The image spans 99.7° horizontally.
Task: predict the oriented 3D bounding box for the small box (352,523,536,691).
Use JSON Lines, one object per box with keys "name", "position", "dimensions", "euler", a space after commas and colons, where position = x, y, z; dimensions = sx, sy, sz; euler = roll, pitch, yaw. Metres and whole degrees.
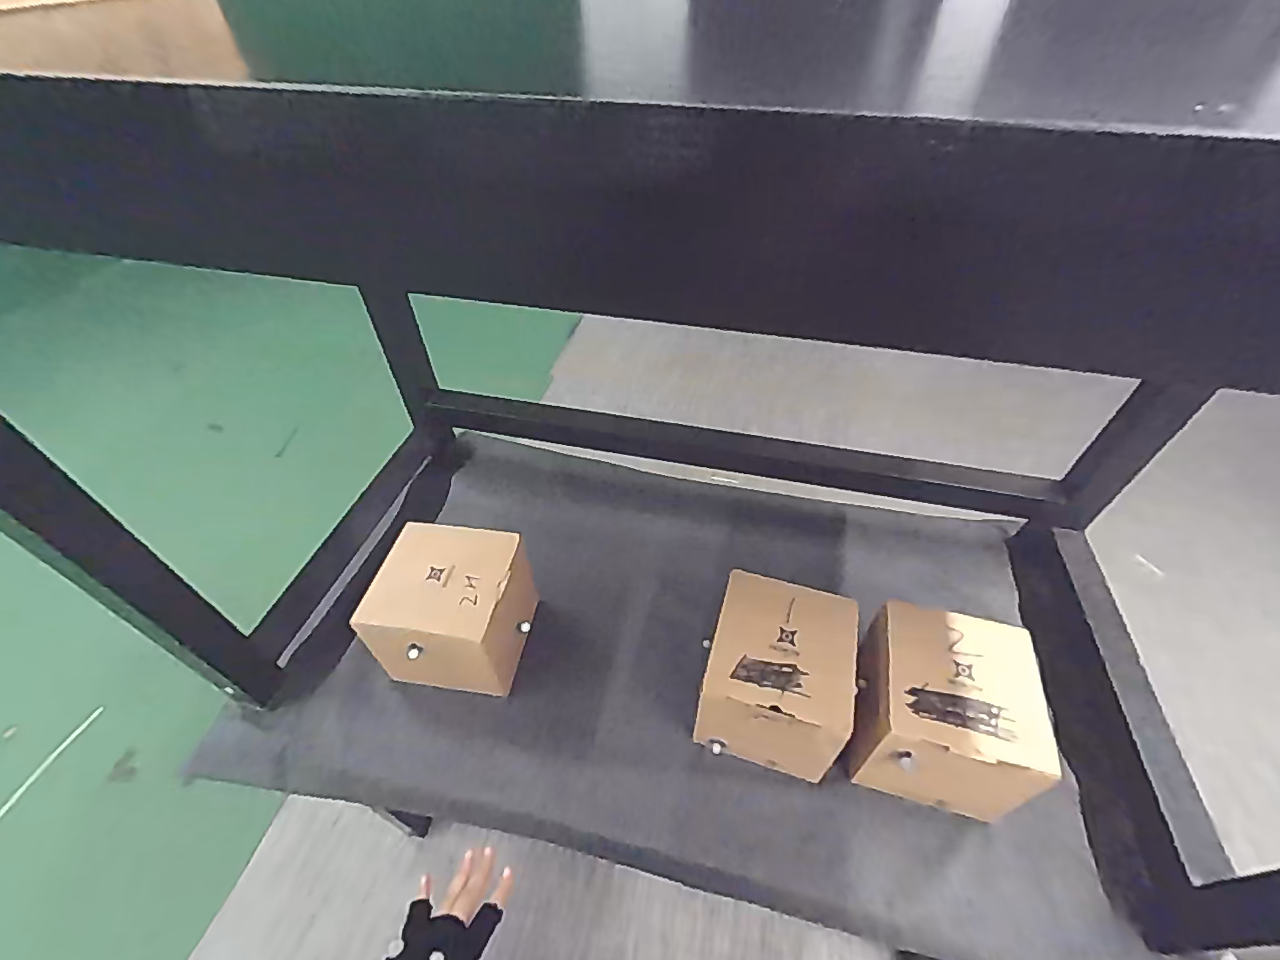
{"name": "small box", "position": [-0.263, 0.184, 0.776], "dimensions": [0.179, 0.176, 0.168], "euler": [6, 47, 6]}
